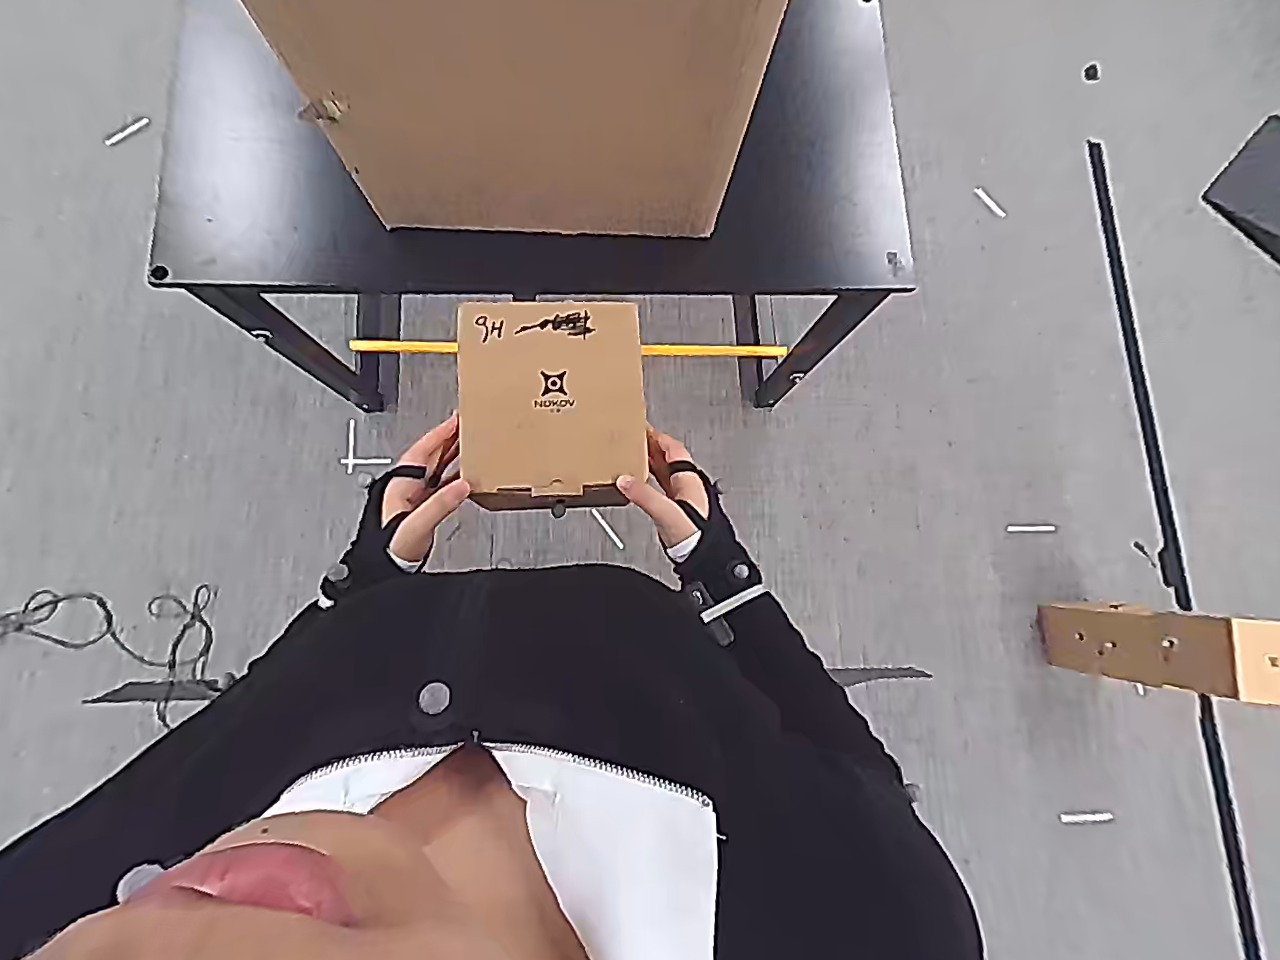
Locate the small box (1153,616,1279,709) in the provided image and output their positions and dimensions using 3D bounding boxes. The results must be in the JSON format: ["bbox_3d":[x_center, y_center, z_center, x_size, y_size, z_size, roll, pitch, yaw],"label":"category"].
[{"bbox_3d":[1.275,0.389,1.168,0.179,0.176,0.168,5,79,-2],"label":"small box"}]

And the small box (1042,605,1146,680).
[{"bbox_3d":[1.257,0.439,1.491,0.168,0.176,0.179,-4,81,-5],"label":"small box"}]

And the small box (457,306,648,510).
[{"bbox_3d":[-0.086,-0.061,0.554,0.168,0.176,0.179,-3,83,-8],"label":"small box"}]

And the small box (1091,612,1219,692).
[{"bbox_3d":[1.270,0.417,1.328,0.179,0.176,0.168,0,80,-4],"label":"small box"}]
